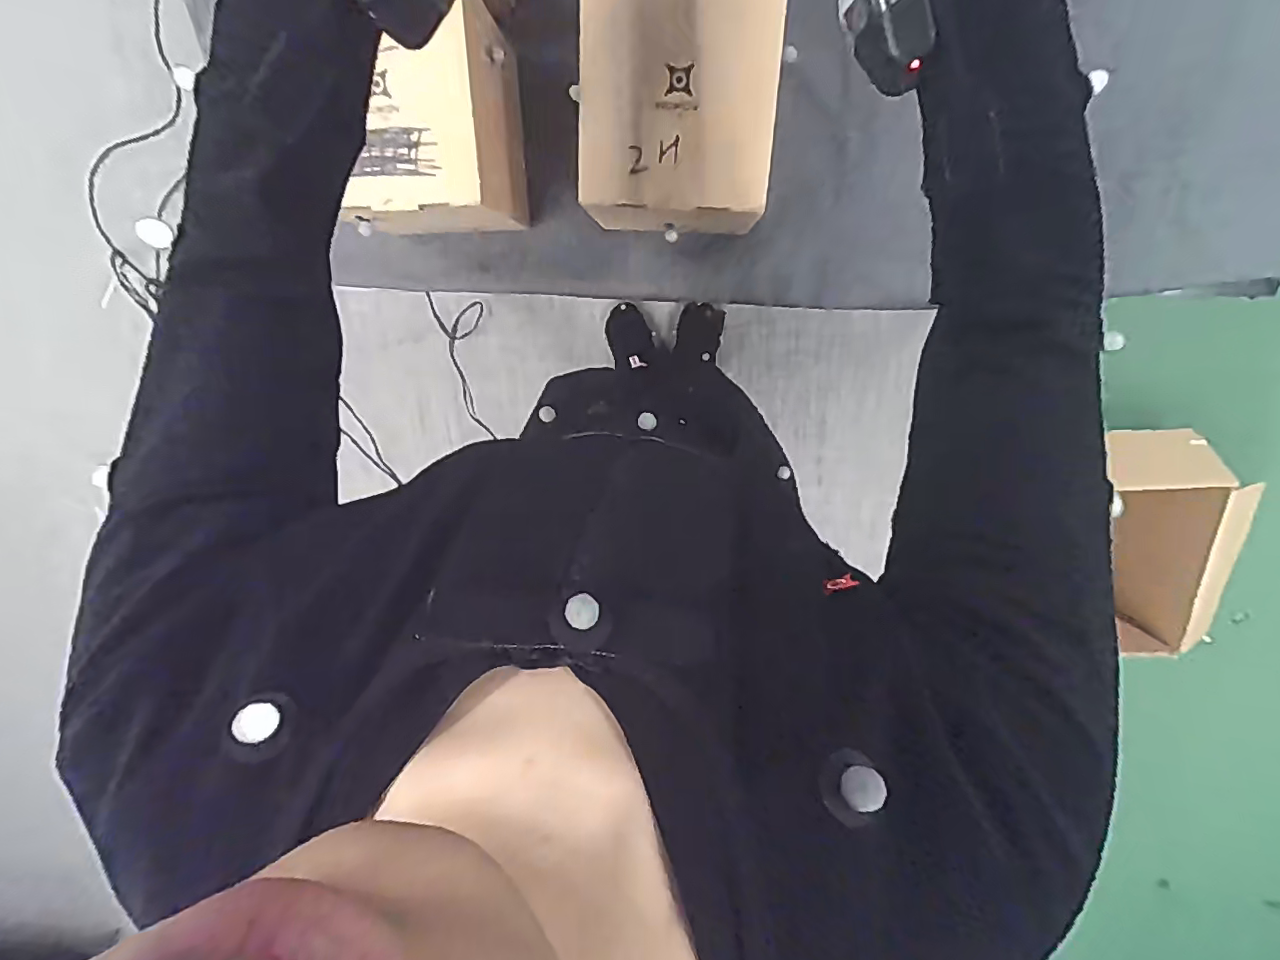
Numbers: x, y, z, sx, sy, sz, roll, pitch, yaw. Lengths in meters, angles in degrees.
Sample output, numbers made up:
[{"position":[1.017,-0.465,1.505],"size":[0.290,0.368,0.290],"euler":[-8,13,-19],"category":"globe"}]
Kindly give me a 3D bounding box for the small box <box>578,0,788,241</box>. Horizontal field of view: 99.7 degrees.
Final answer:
[{"position":[0.035,-0.342,0.527],"size":[0.168,0.176,0.179],"euler":[4,109,2],"category":"small box"}]
